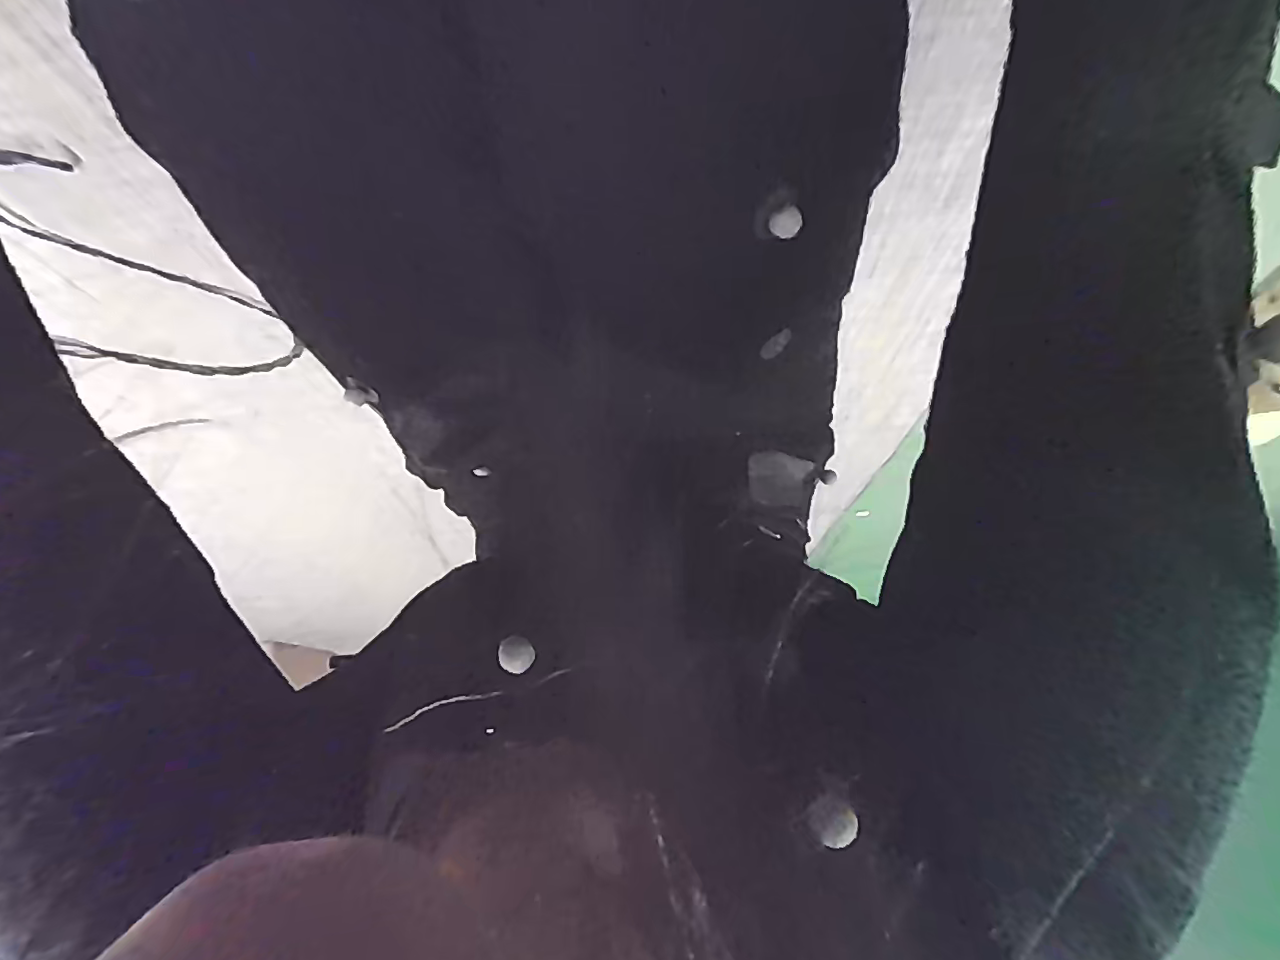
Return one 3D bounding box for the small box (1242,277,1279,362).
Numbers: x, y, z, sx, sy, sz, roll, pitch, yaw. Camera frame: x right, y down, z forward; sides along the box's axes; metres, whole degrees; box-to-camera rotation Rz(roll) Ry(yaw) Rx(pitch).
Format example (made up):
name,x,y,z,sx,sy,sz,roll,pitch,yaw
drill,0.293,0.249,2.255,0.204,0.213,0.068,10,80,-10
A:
name,x,y,z,sx,sy,sz,roll,pitch,yaw
small box,1.145,-0.276,0.856,0.179,0.176,0.168,-7,157,3
